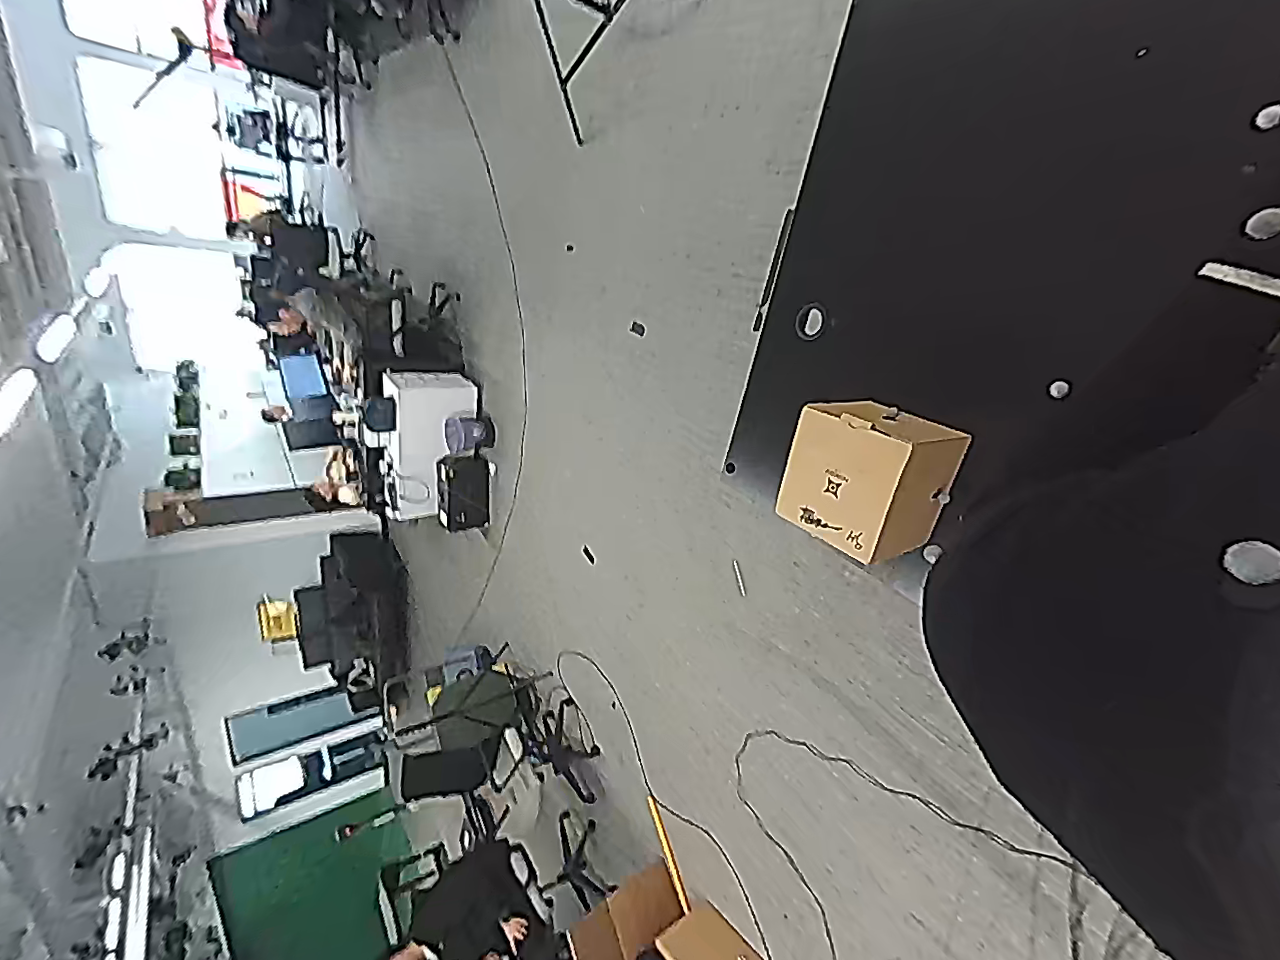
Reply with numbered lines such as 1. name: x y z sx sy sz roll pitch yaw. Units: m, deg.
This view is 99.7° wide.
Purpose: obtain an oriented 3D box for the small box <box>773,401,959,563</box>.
1. small box: 0.327 -0.008 0.784 0.168 0.176 0.179 34 122 45
